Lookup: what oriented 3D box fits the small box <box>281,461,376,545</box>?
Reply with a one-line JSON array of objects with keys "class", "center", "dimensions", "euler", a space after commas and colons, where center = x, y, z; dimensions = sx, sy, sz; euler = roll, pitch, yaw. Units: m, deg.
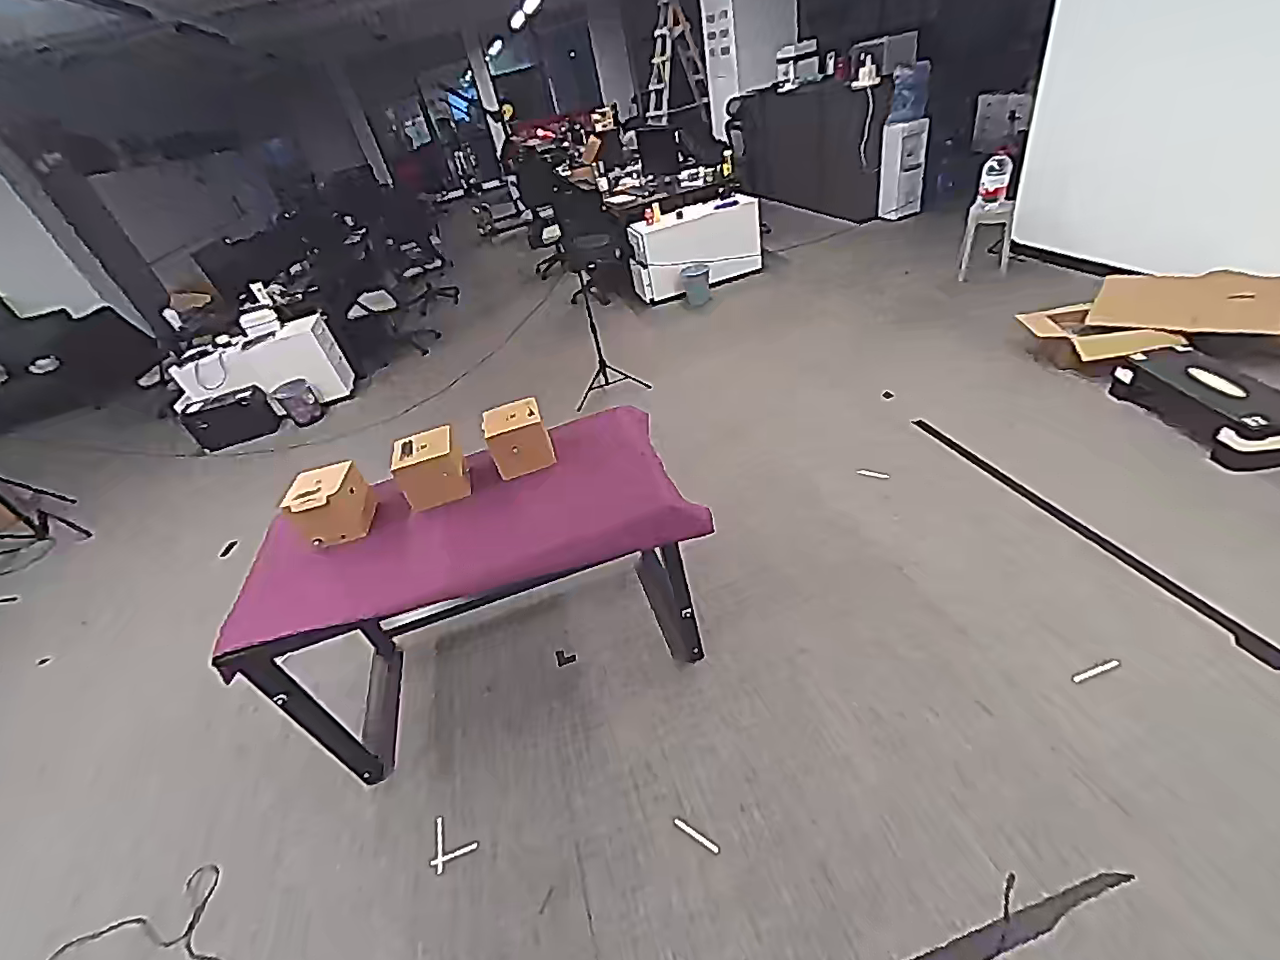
[{"class": "small box", "center": [-0.916, 0.076, 1.610], "dimensions": [0.168, 0.176, 0.179], "euler": [-15, 37, -2]}]

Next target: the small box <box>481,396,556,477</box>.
[{"class": "small box", "center": [-0.383, -0.133, 1.701], "dimensions": [0.179, 0.176, 0.168], "euler": [-19, 40, -5]}]
